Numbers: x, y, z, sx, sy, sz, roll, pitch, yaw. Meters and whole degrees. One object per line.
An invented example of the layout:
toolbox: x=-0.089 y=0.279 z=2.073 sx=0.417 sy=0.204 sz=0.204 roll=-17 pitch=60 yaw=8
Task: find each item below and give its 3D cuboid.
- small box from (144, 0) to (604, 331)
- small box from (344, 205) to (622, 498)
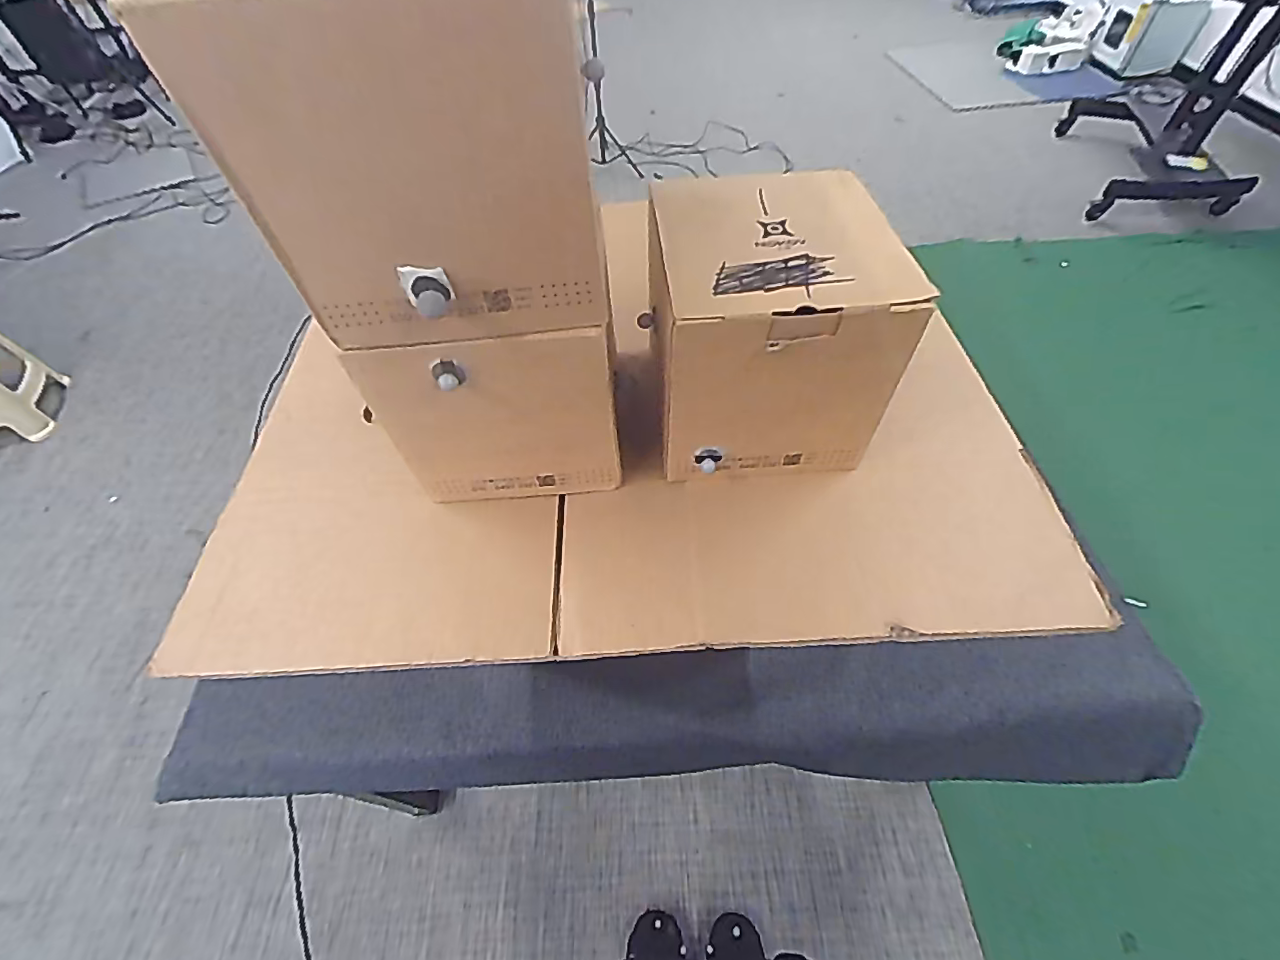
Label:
small box: x=-0.114 y=-0.212 z=0.311 sx=0.168 sy=0.176 sz=0.179 roll=-7 pitch=55 yaw=-1
small box: x=-0.105 y=-0.106 z=0.454 sx=0.168 sy=0.176 sz=0.179 roll=-4 pitch=53 yaw=2
